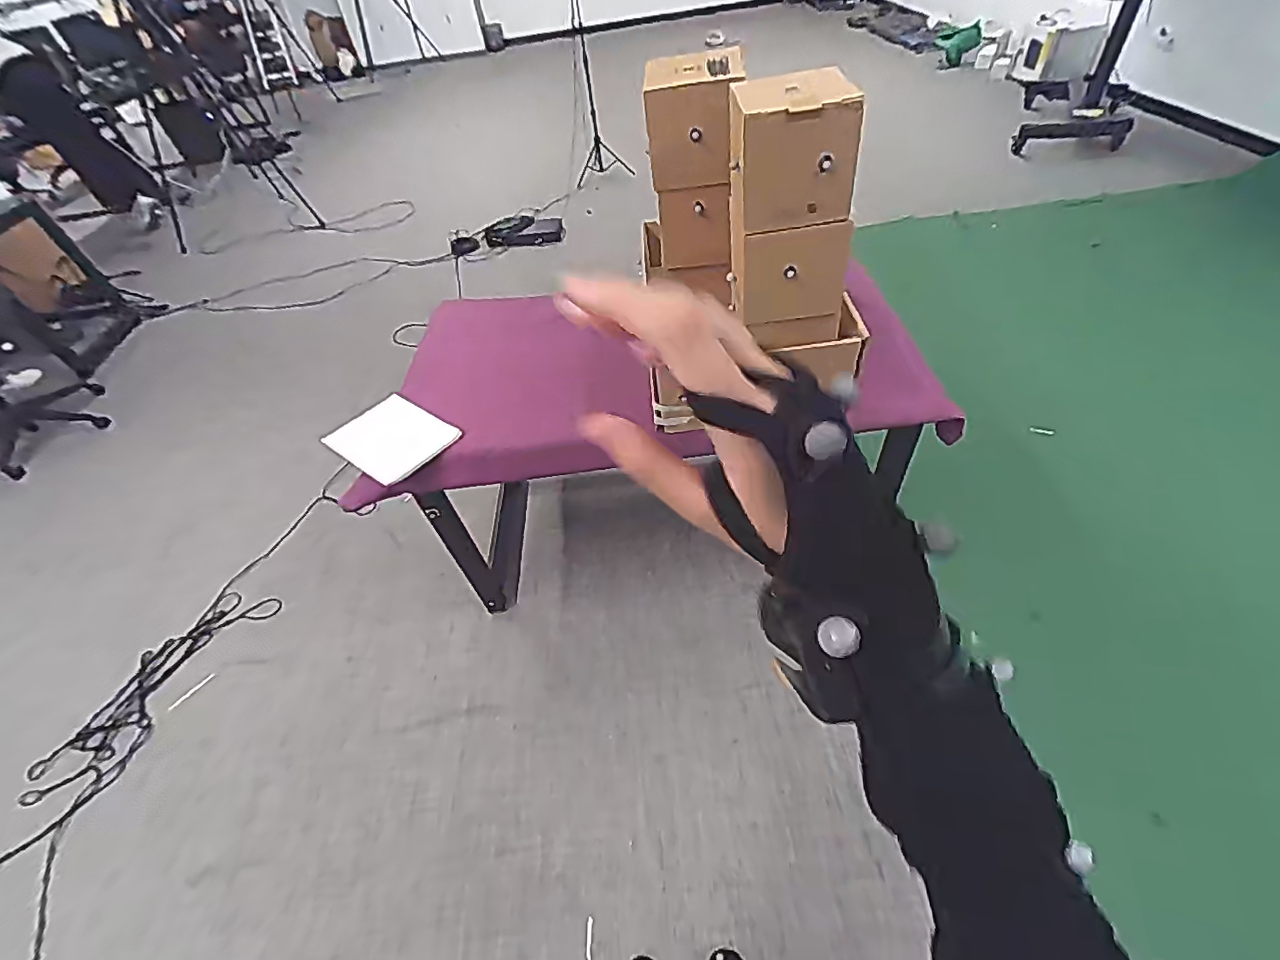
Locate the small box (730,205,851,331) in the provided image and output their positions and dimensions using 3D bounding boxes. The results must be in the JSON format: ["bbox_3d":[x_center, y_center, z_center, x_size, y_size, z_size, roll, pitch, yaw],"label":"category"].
[{"bbox_3d":[0.258,-0.390,0.971,0.179,0.176,0.168,-6,47,6],"label":"small box"}]

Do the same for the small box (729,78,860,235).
[{"bbox_3d":[0.234,-0.503,0.857,0.168,0.176,0.179,-5,47,6],"label":"small box"}]

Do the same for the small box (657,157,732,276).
[{"bbox_3d":[0.133,-0.556,1.148,0.179,0.176,0.168,-2,51,8],"label":"small box"}]
